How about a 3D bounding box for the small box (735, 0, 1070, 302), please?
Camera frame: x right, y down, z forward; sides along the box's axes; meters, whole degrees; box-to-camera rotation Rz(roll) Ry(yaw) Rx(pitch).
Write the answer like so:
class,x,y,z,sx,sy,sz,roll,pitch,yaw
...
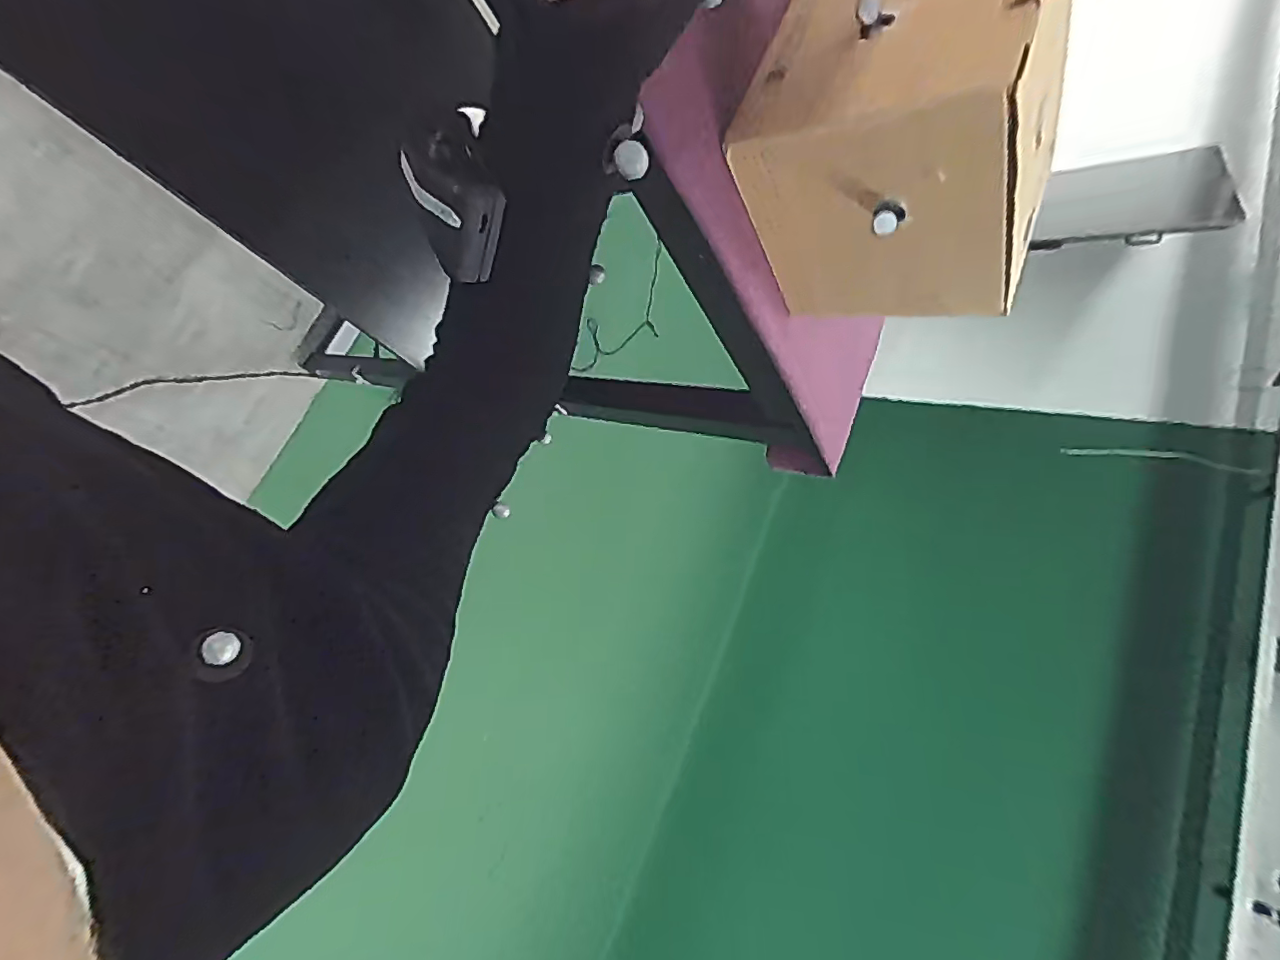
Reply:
class,x,y,z,sx,sy,sz,roll,pitch,yaw
small box,0.191,-0.247,0.396,0.179,0.176,0.168,41,69,-49
